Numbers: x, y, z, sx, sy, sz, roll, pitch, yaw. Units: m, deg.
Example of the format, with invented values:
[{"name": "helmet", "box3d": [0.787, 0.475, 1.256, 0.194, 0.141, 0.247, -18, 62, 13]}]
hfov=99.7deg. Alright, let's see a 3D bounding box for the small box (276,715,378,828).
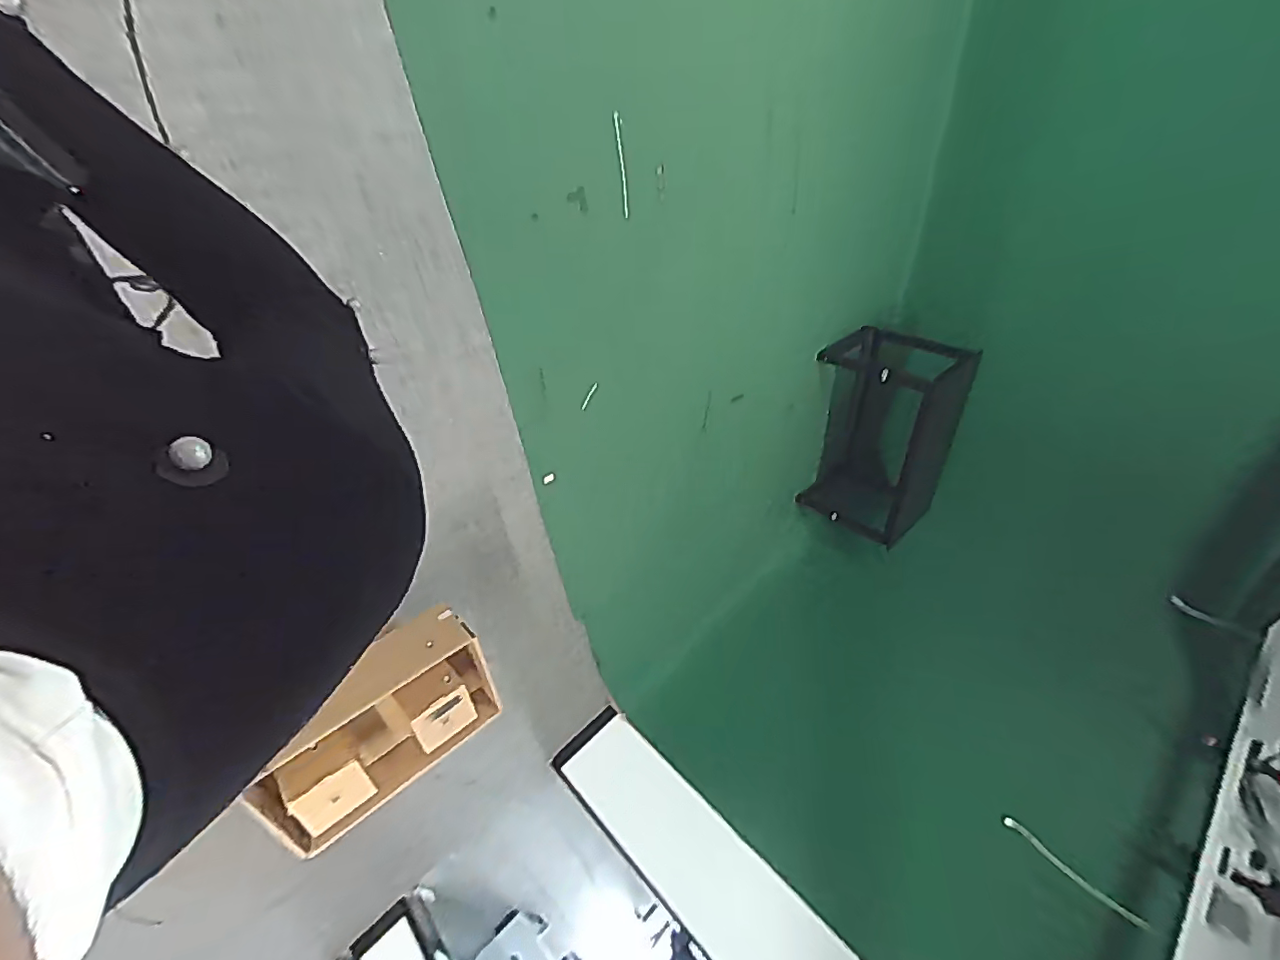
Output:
[{"name": "small box", "box3d": [-0.832, 0.768, 1.441, 0.168, 0.176, 0.179, -30, 133, -31]}]
